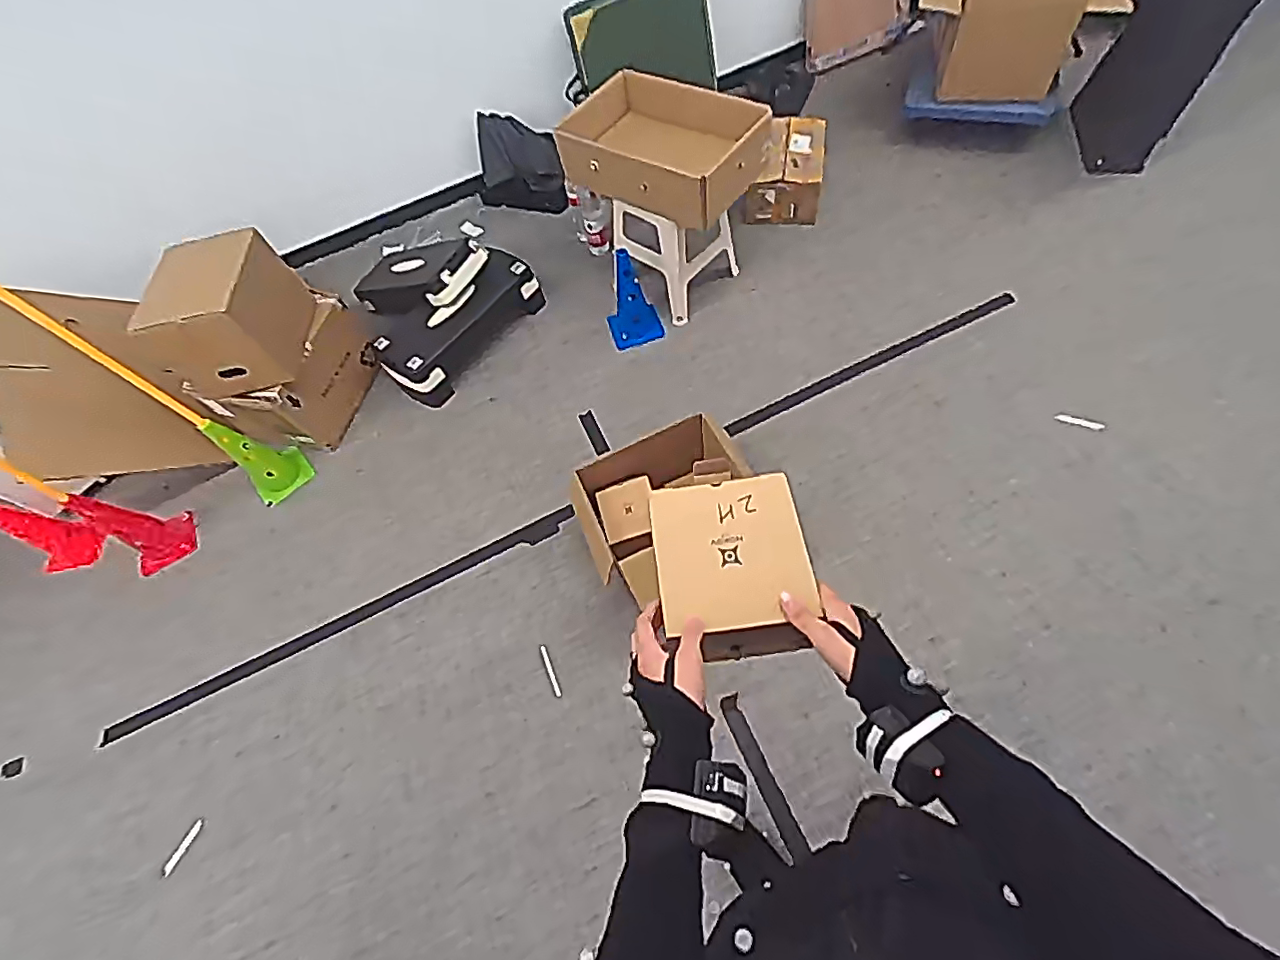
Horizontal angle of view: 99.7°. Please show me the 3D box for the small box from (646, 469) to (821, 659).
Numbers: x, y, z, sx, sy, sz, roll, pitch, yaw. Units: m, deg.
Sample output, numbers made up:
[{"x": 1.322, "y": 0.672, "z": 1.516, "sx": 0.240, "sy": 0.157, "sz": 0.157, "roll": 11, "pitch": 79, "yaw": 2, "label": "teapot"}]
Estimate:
[{"x": 0.103, "y": 0.111, "z": 0.654, "sx": 0.168, "sy": 0.176, "sz": 0.179, "roll": -8, "pitch": 61, "yaw": 1, "label": "small box"}]
